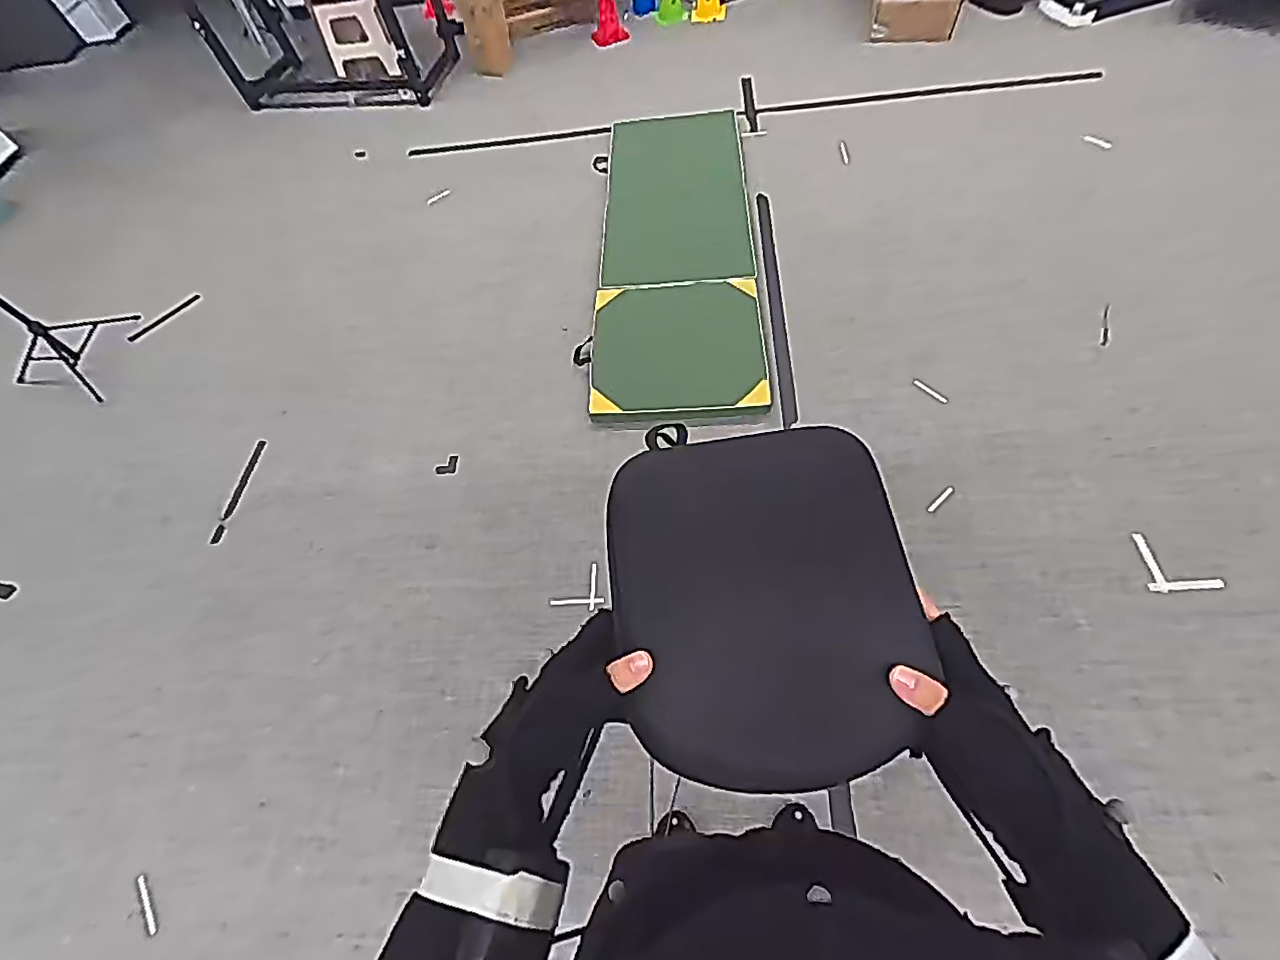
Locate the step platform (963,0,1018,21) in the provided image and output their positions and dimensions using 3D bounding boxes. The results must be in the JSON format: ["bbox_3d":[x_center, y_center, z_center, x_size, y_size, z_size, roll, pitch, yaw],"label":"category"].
[{"bbox_3d":[2.109,-2.712,2.886,0.684,0.204,0.286,-28,61,-8],"label":"step platform"}]
